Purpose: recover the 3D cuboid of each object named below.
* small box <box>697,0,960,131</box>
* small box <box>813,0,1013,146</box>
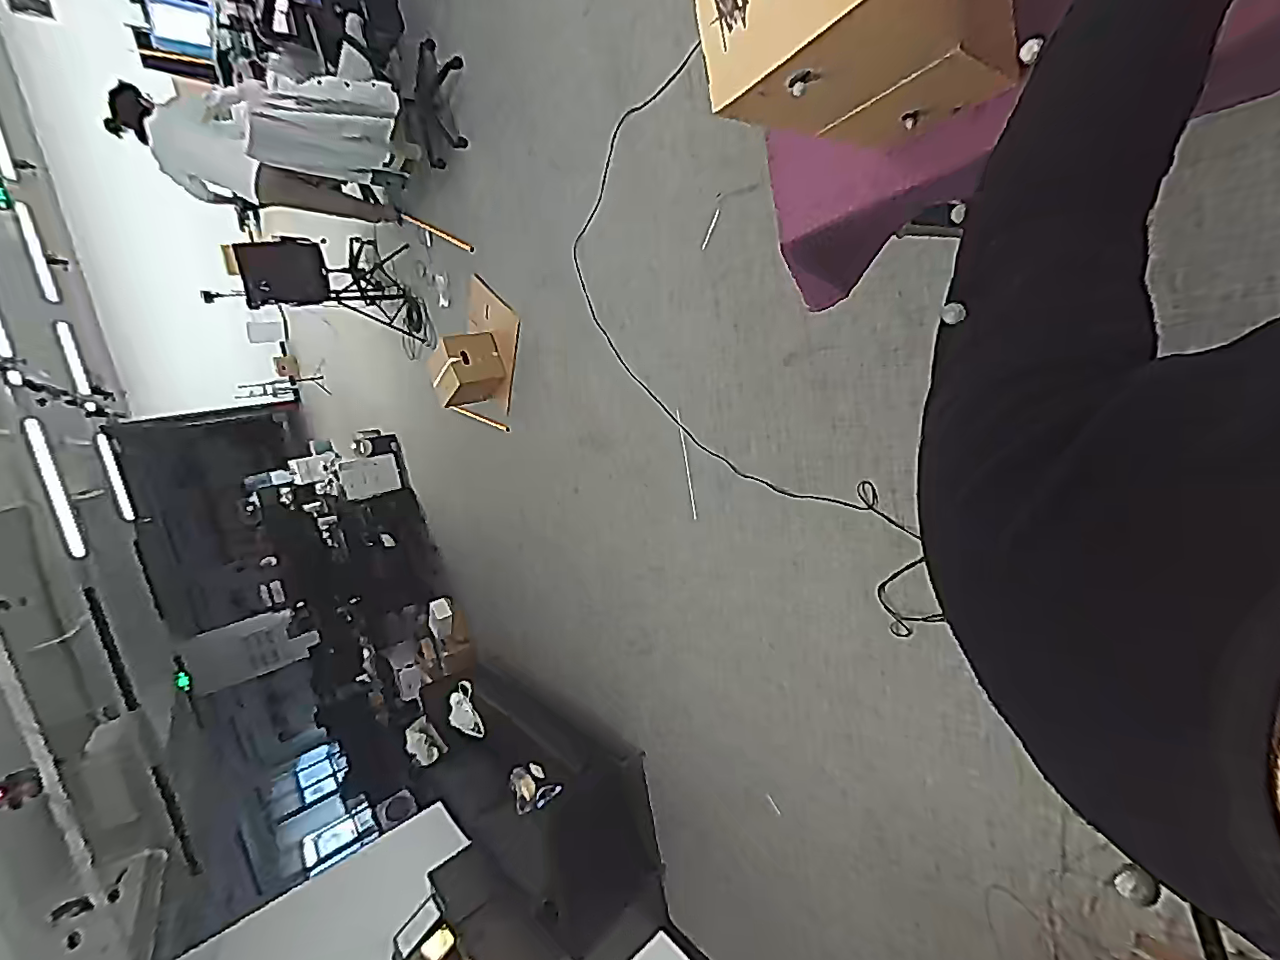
[{"bbox_3d":[0.177,-0.473,0.525,0.179,0.176,0.168,-2,102,52],"label":"small box"},{"bbox_3d":[0.304,-0.512,0.622,0.168,0.176,0.179,-1,102,52],"label":"small box"}]
